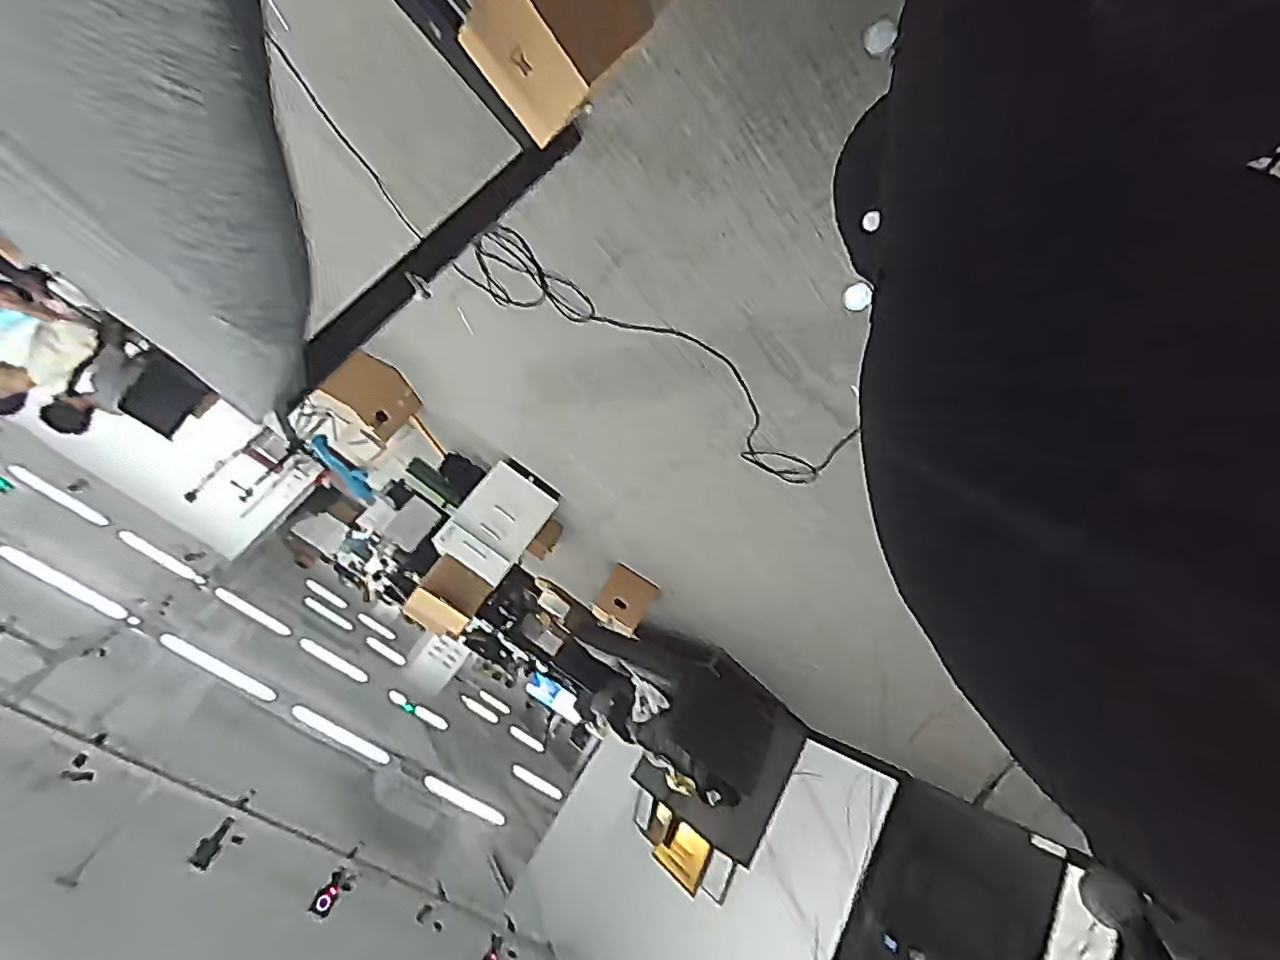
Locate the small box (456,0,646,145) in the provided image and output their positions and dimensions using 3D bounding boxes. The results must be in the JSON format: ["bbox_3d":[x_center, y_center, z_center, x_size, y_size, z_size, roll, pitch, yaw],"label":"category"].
[{"bbox_3d":[-0.123,-0.640,0.775,0.179,0.176,0.168,46,157,-26],"label":"small box"}]
